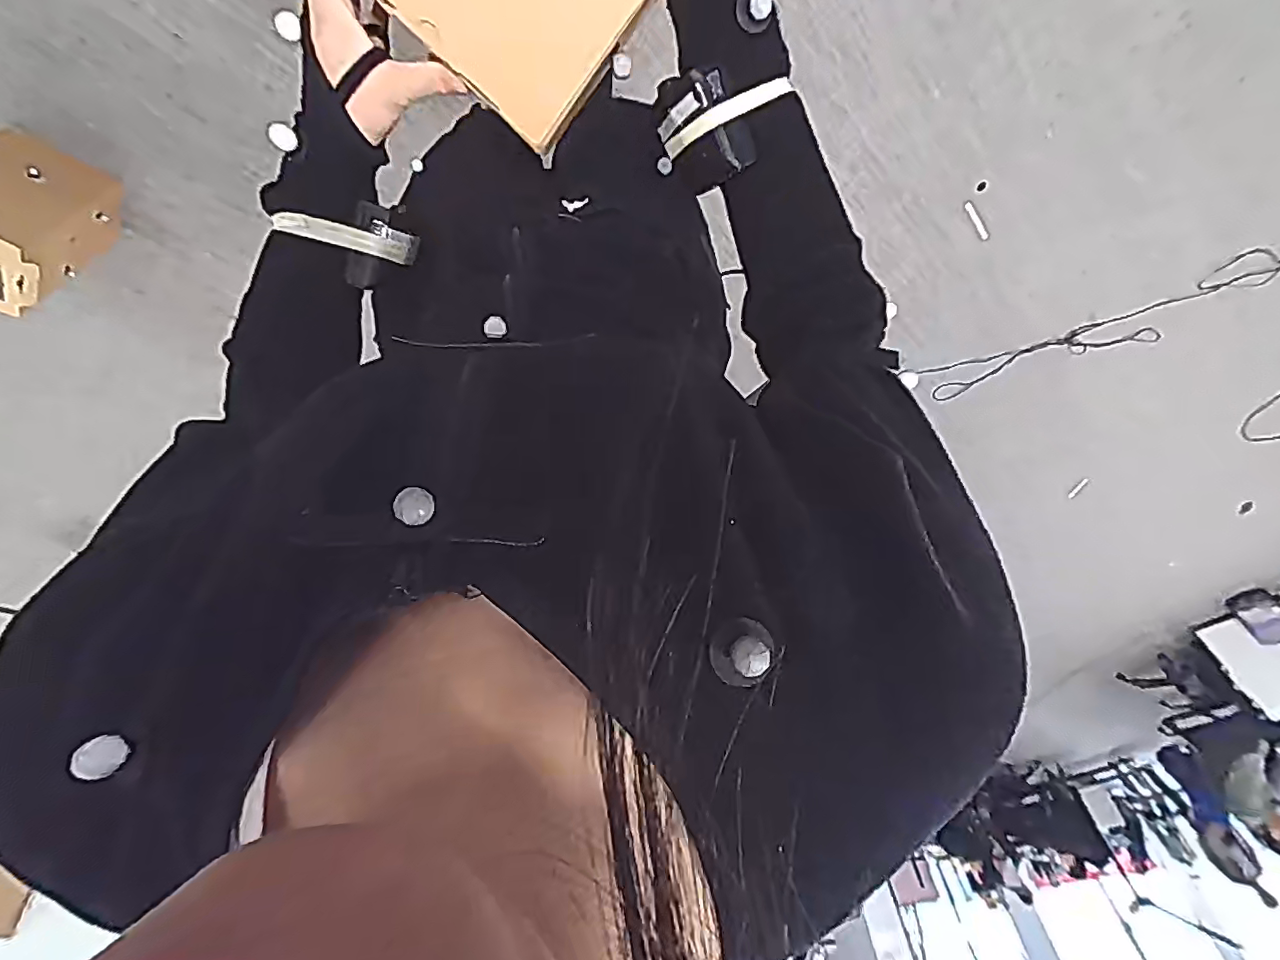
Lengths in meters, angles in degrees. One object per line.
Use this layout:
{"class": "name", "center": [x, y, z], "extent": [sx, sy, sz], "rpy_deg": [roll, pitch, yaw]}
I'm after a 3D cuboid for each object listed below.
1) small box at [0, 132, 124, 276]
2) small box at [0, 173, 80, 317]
{"class": "small box", "center": [-1.193, -0.556, 1.087], "extent": [0.179, 0.176, 0.168], "rpy_deg": [25, 127, -30]}
{"class": "small box", "center": [-1.170, -0.439, 0.974], "extent": [0.179, 0.176, 0.168], "rpy_deg": [26, 127, -31]}
